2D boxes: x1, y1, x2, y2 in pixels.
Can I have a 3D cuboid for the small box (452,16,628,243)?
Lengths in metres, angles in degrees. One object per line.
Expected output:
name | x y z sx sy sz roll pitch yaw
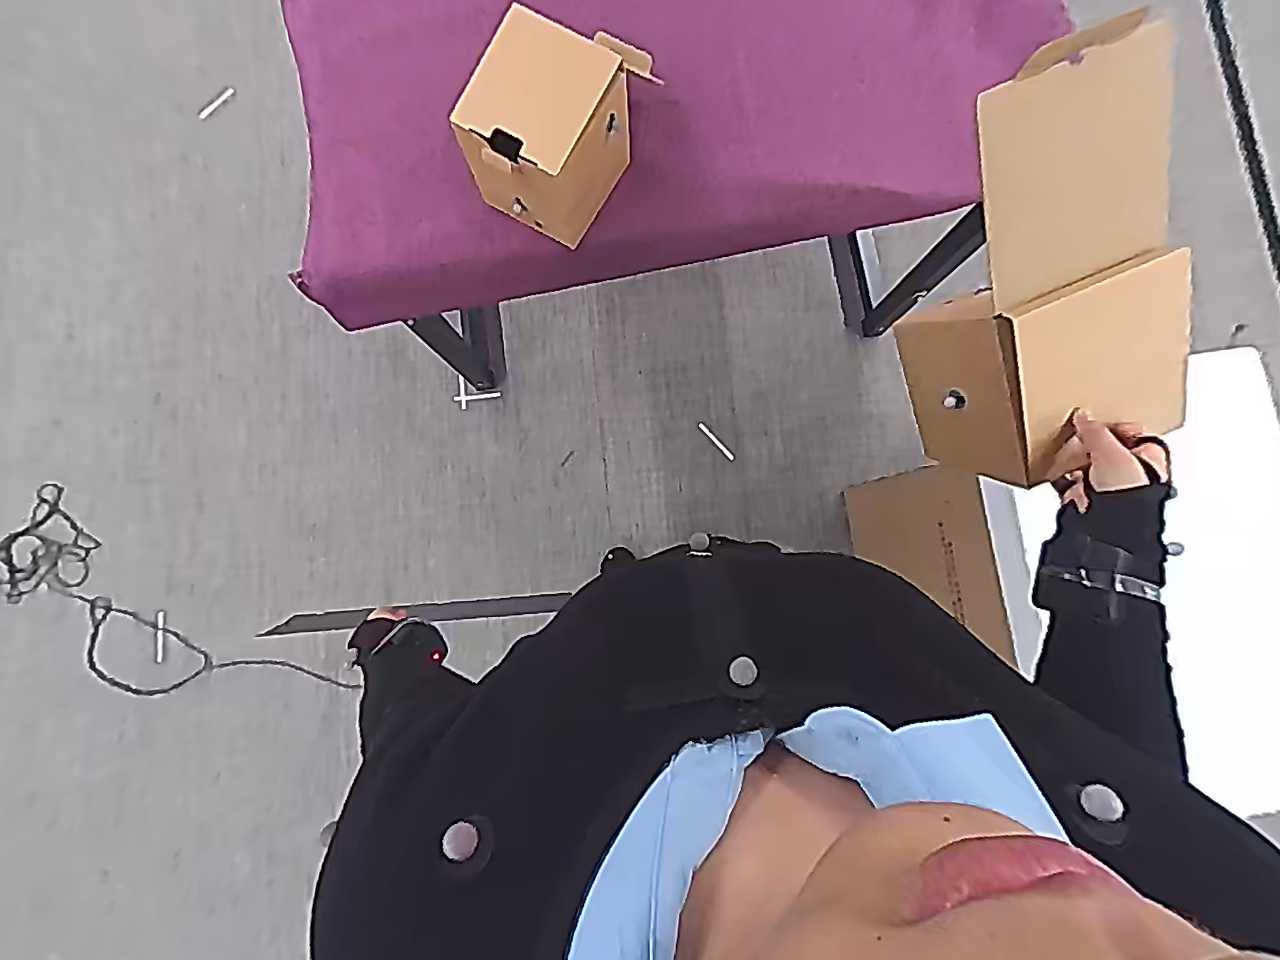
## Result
small box | -0.129 -0.485 0.772 0.168 0.176 0.179 30 84 5
